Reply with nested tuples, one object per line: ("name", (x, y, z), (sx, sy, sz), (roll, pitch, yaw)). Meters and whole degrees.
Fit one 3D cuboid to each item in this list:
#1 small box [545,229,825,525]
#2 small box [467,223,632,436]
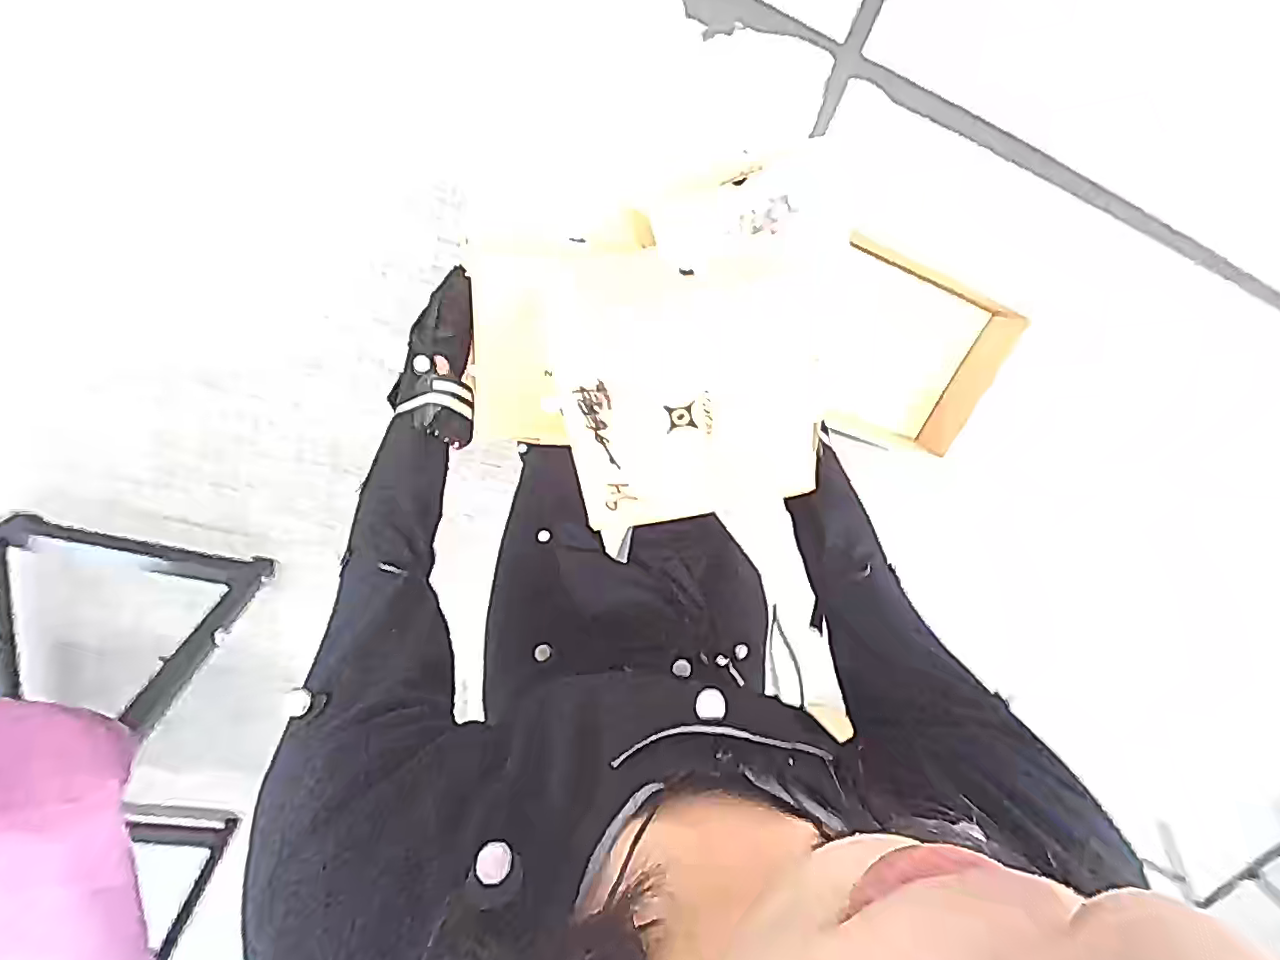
("small box", (0.027, -0.091, 0.433), (0.179, 0.176, 0.168), (-11, 123, -1))
("small box", (-0.083, -0.160, 0.570), (0.168, 0.176, 0.179), (0, 120, -10))
